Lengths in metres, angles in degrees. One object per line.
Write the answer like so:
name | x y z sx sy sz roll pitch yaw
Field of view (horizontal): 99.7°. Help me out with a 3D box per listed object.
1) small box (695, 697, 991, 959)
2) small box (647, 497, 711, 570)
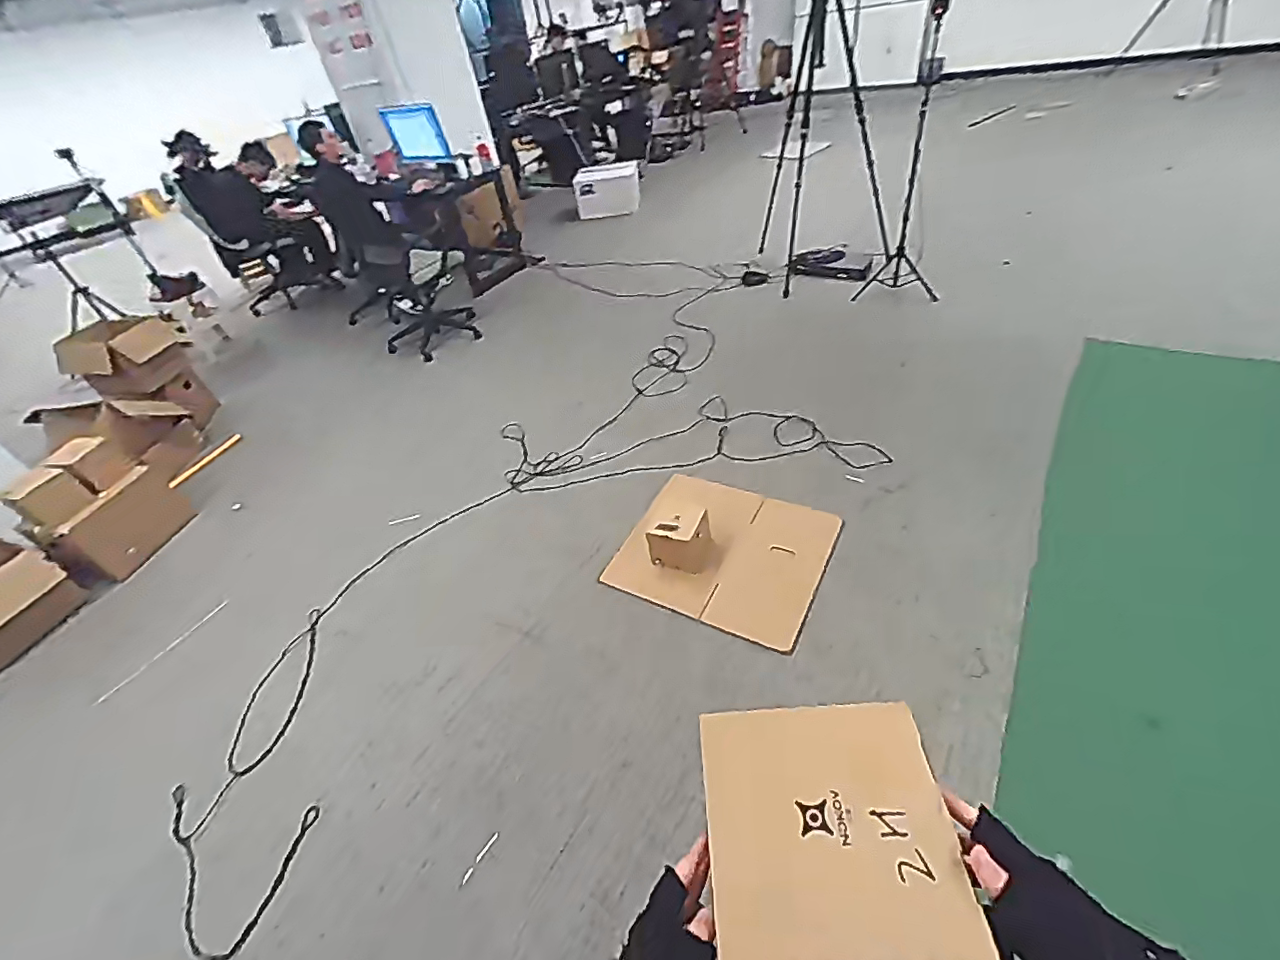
small box | 0.144 0.300 0.450 0.179 0.176 0.168 -6 44 6
small box | 0.145 0.190 1.902 0.168 0.176 0.179 11 46 25
